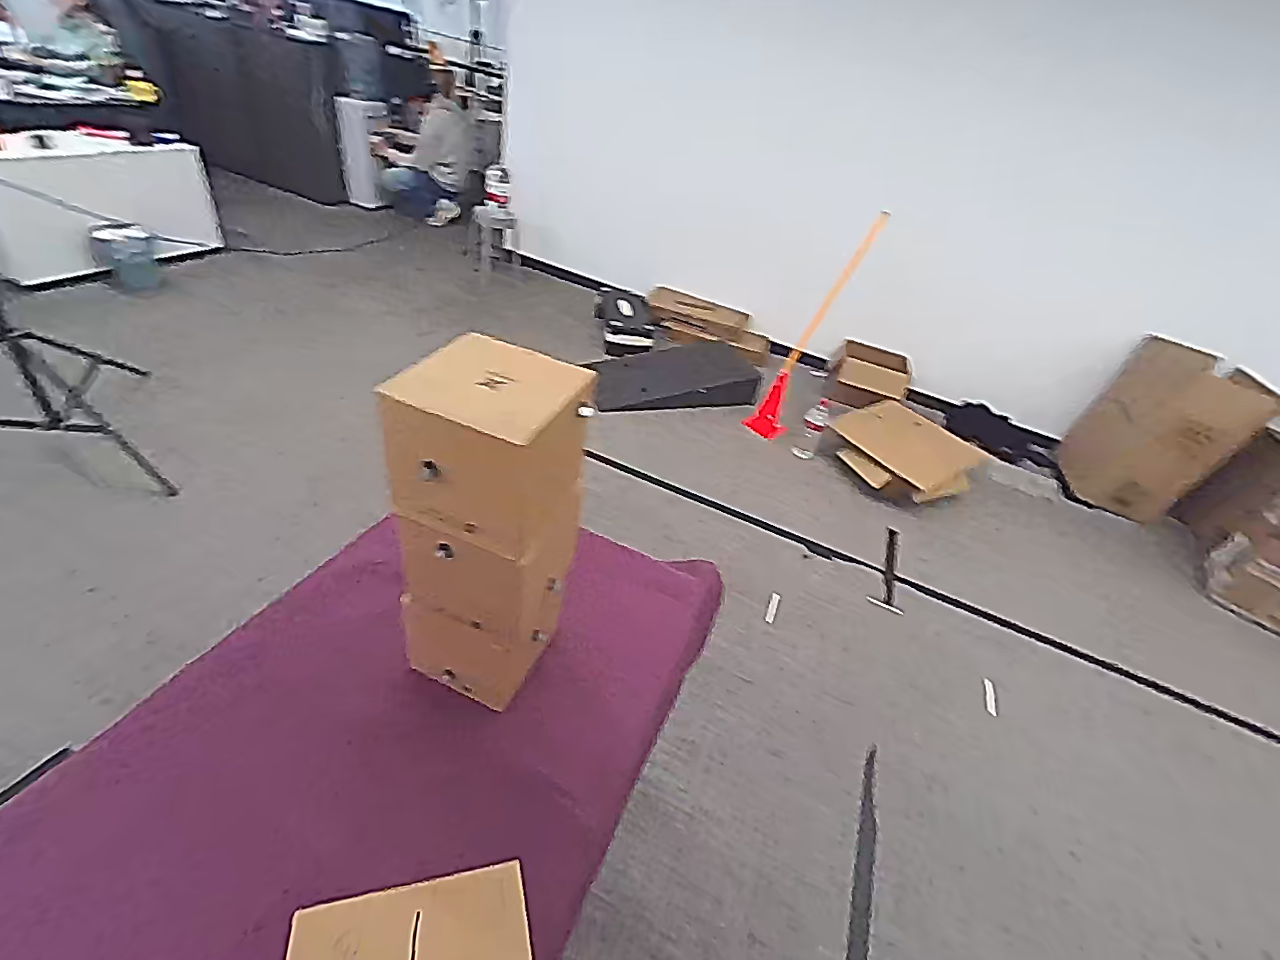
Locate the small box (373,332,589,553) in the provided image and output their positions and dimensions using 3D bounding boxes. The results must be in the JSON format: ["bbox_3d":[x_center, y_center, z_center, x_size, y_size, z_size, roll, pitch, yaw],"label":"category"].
[{"bbox_3d":[-0.172,-0.045,0.629,0.168,0.176,0.179,19,38,8],"label":"small box"}]

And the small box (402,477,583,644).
[{"bbox_3d":[-0.193,0.083,0.729,0.168,0.176,0.179,19,38,8],"label":"small box"}]
